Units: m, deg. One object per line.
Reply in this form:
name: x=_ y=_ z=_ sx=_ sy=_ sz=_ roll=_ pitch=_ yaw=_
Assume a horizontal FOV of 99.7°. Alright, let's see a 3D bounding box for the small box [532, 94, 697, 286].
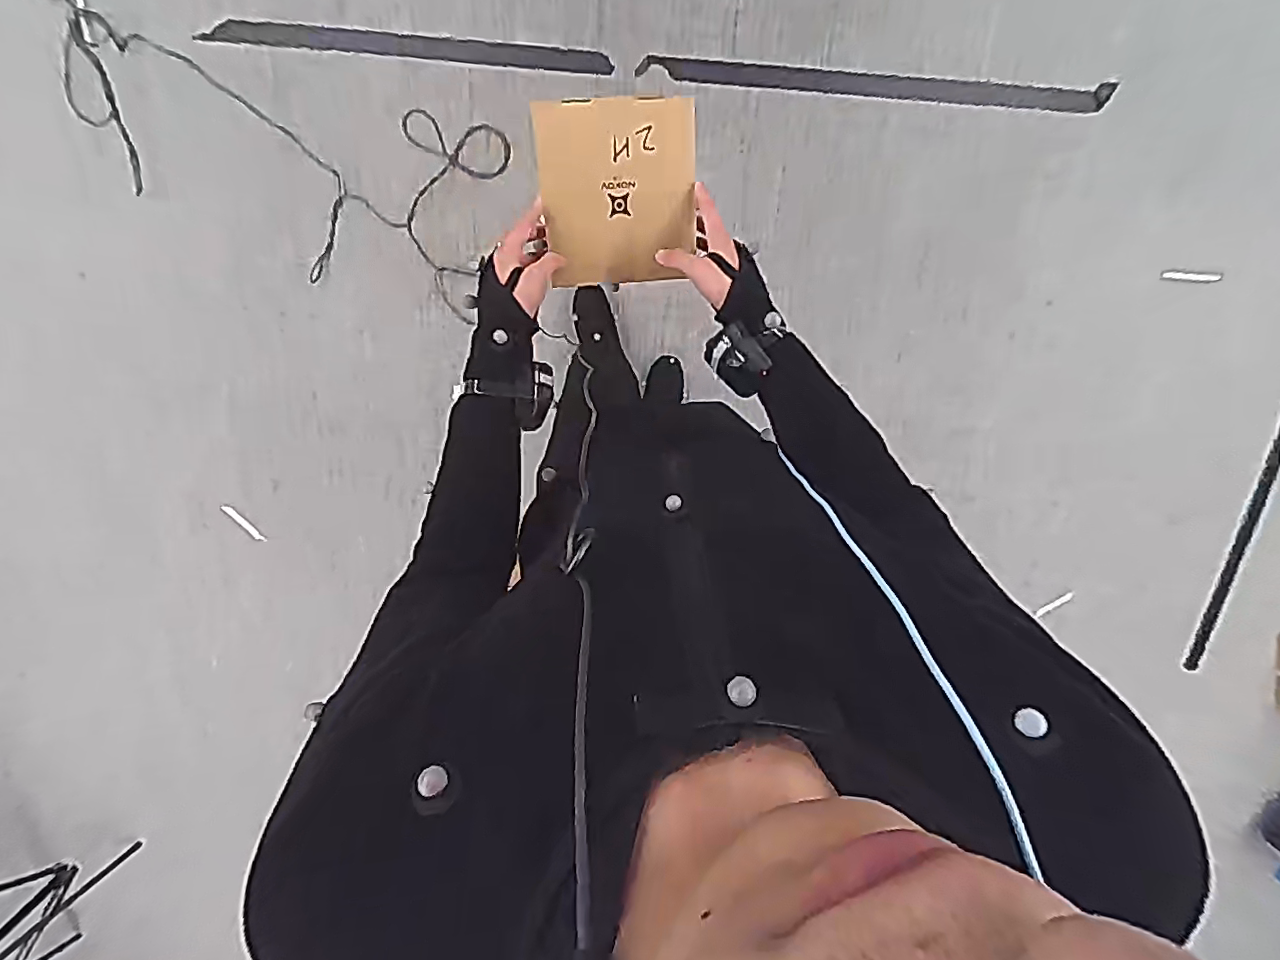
small box: x=-0.031 y=-0.332 z=0.638 sx=0.168 sy=0.176 sz=0.179 roll=-5 pitch=114 yaw=-6
